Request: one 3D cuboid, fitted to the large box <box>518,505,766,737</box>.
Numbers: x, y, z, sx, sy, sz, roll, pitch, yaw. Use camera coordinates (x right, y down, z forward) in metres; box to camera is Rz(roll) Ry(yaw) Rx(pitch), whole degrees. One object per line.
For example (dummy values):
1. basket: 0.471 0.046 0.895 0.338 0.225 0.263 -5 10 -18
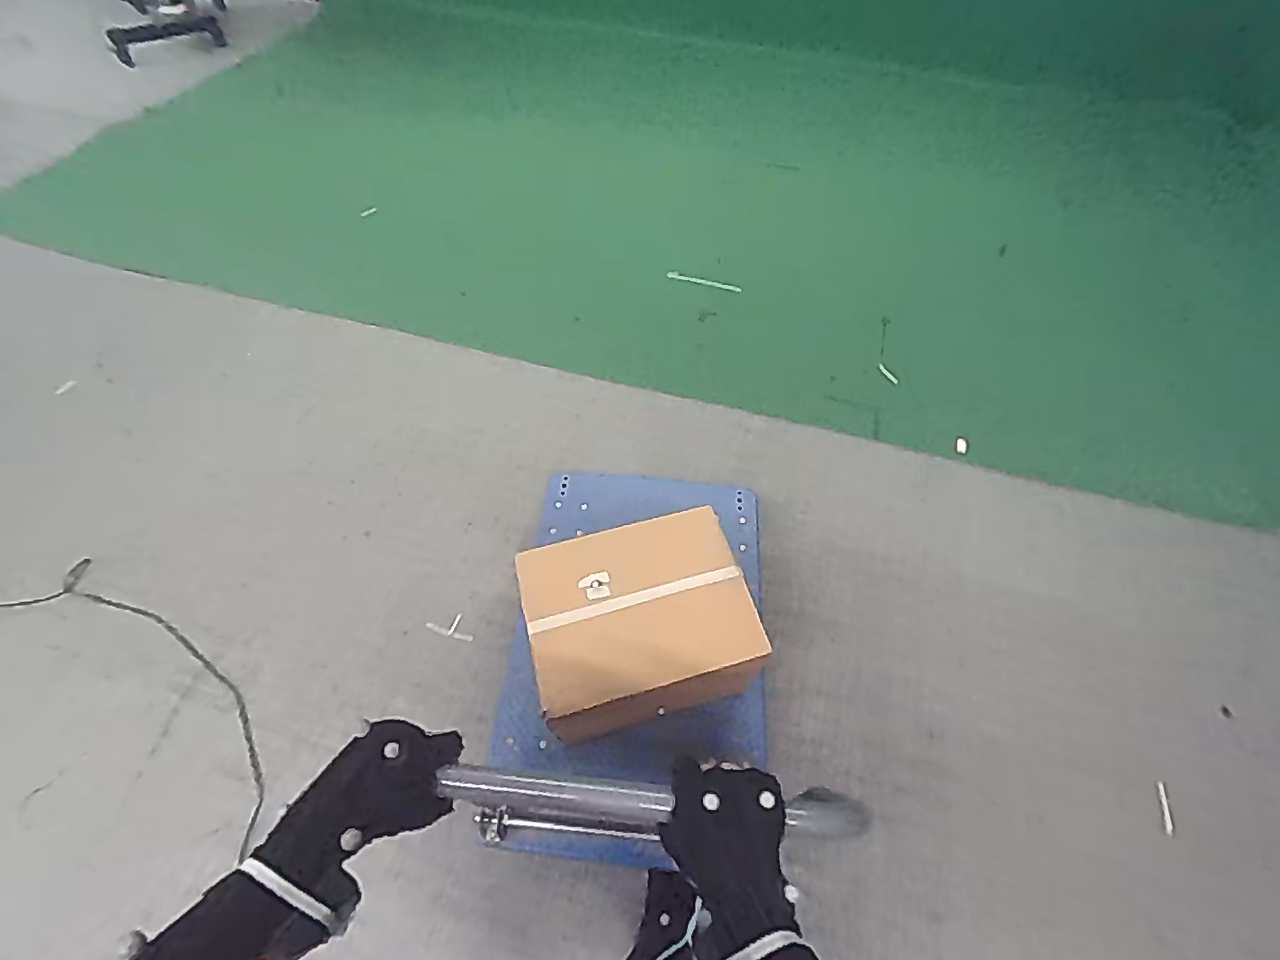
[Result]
1. large box: -0.004 0.300 1.130 0.408 0.320 0.320 -14 58 -9
